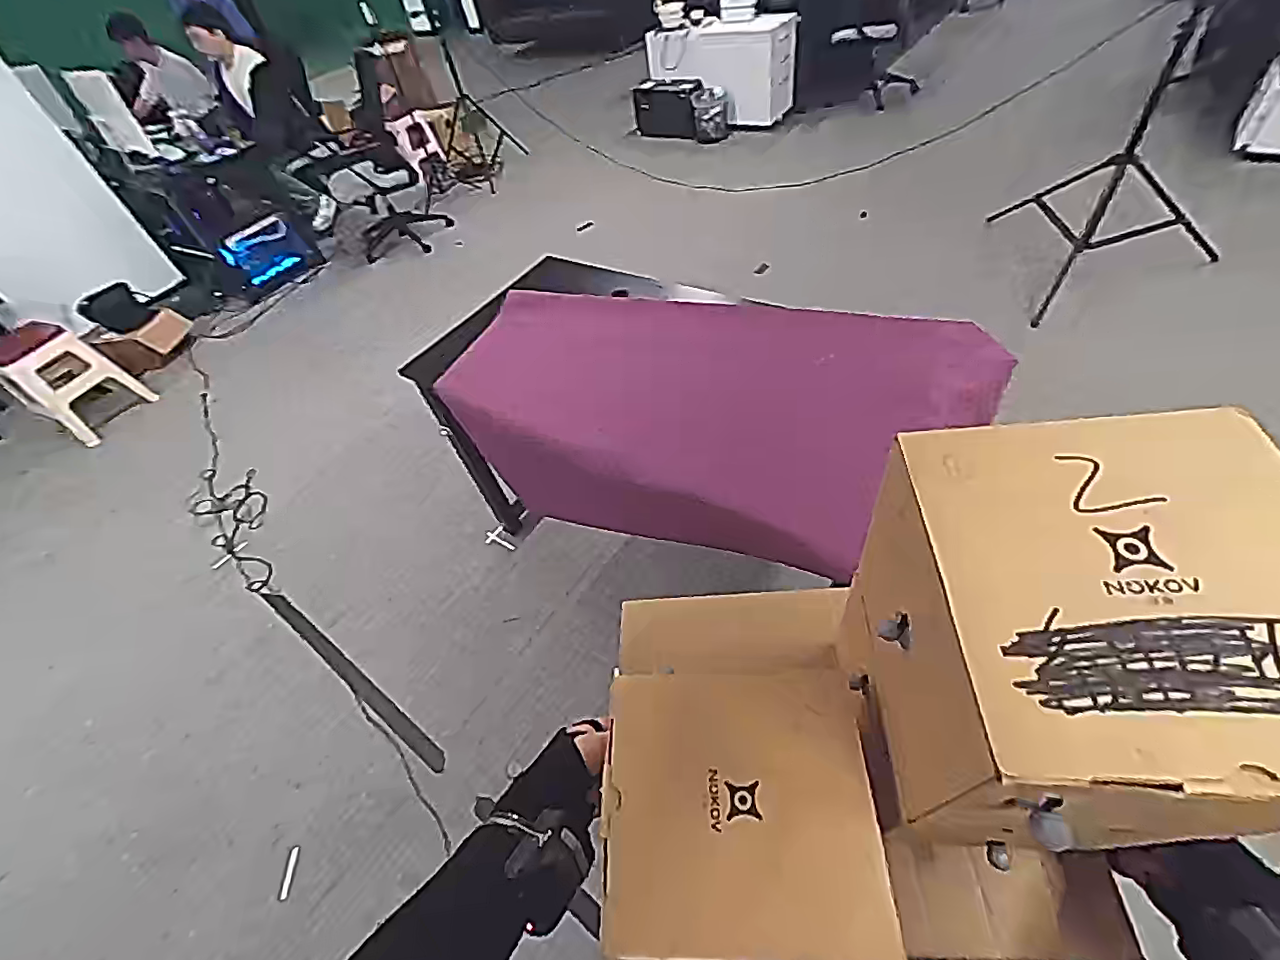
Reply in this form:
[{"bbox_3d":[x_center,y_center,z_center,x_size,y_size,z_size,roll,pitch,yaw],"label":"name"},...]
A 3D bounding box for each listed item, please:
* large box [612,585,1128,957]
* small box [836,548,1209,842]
[{"bbox_3d":[0.197,0.335,0.633,0.408,0.320,0.320,-7,52,8],"label":"large box"},{"bbox_3d":[0.259,0.173,0.429,0.168,0.176,0.179,-5,53,11],"label":"small box"}]
